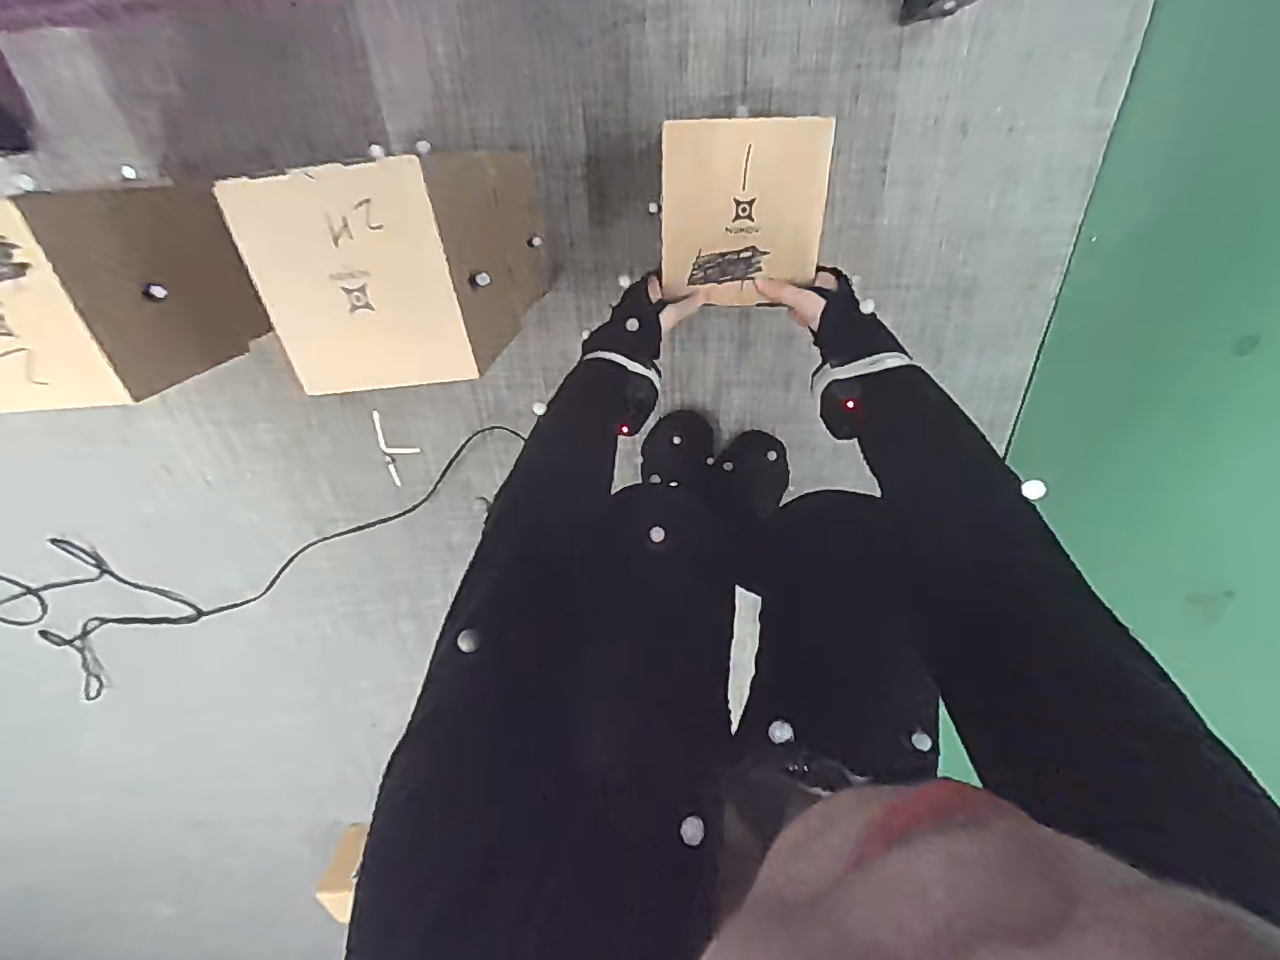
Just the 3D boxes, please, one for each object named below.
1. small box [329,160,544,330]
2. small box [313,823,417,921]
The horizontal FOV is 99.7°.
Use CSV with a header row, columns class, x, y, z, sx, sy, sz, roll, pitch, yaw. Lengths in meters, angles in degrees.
class,x,y,z,sx,sy,sz,roll,pitch,yaw
small box,-0.230,-0.290,0.665,0.179,0.176,0.168,-3,120,5
small box,-0.729,1.059,1.466,0.179,0.176,0.168,-4,119,6
